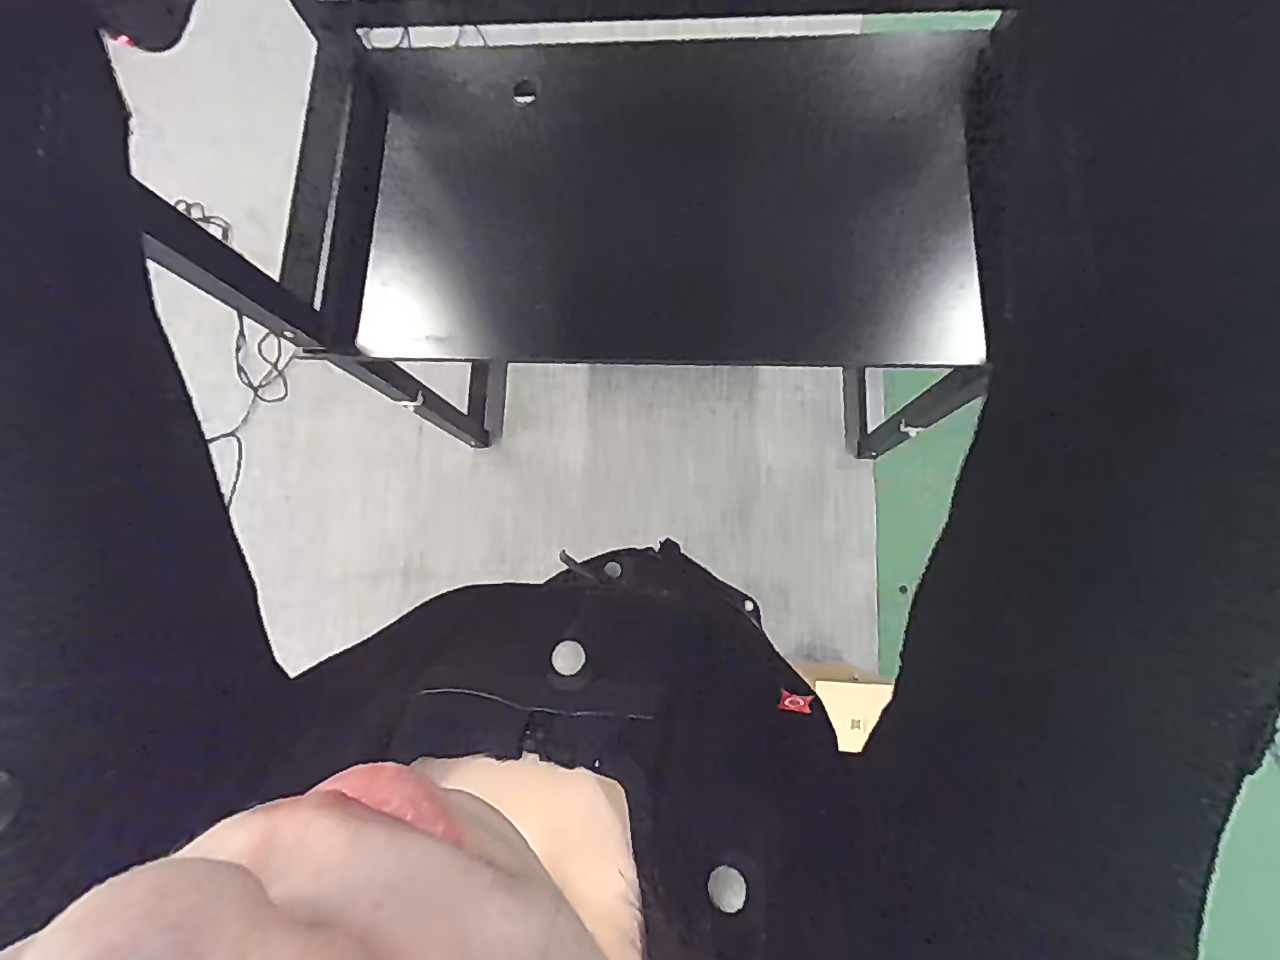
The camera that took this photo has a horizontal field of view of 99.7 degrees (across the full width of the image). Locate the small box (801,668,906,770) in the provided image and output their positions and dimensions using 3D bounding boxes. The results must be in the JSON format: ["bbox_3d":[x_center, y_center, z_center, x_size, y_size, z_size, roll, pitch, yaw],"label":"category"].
[{"bbox_3d":[0.455,0.511,1.179,0.179,0.176,0.168,2,80,3],"label":"small box"}]

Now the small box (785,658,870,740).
[{"bbox_3d":[0.459,0.539,1.340,0.179,0.176,0.168,1,80,4],"label":"small box"}]
